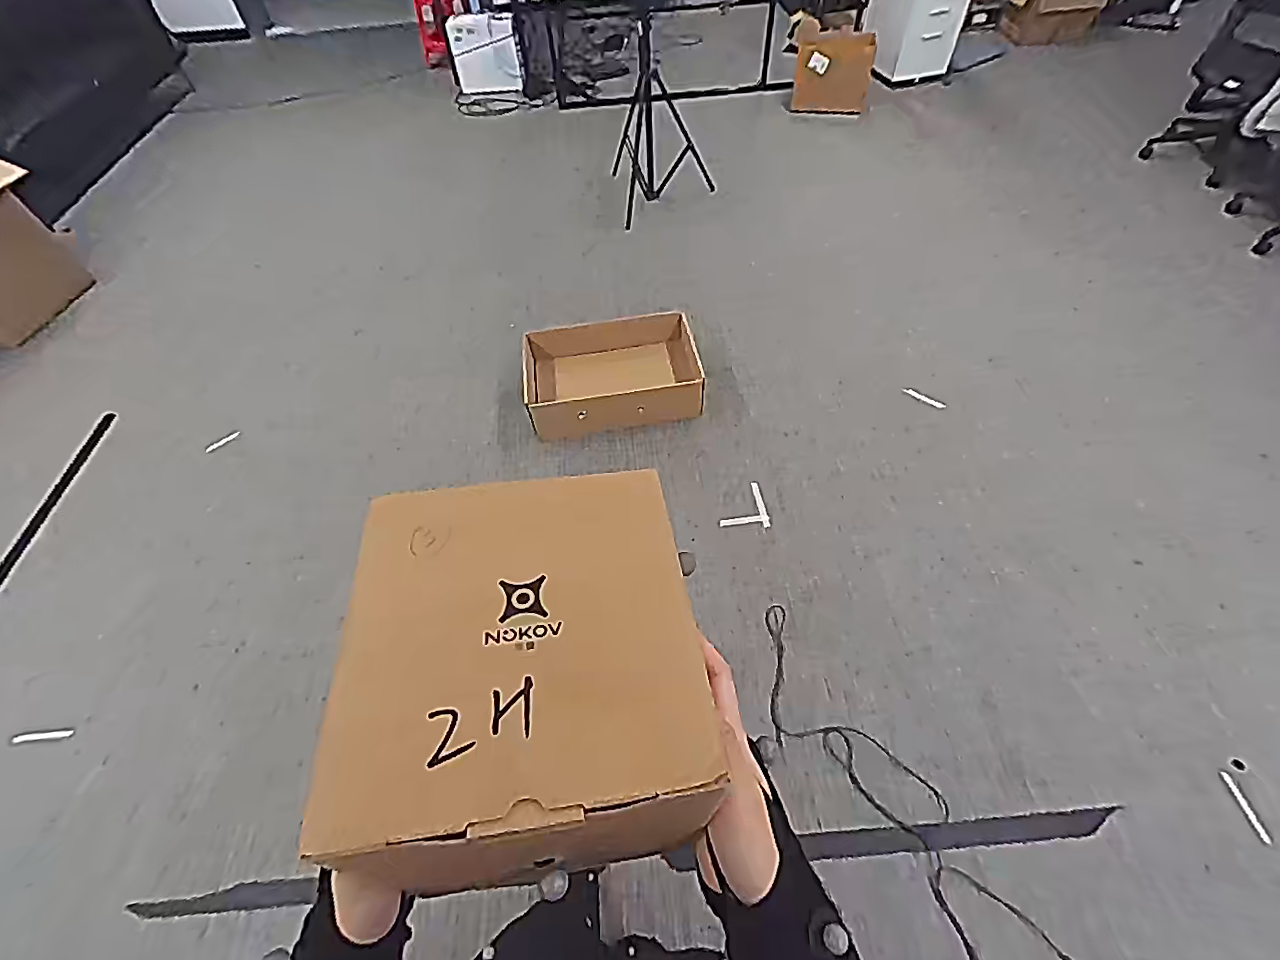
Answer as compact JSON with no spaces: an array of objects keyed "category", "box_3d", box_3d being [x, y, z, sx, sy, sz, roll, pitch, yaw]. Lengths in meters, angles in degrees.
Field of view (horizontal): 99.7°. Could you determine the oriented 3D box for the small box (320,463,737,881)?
[{"category":"small box","box_3d":[-0.055,0.114,0.325,0.168,0.176,0.179,-6,49,-7]}]
